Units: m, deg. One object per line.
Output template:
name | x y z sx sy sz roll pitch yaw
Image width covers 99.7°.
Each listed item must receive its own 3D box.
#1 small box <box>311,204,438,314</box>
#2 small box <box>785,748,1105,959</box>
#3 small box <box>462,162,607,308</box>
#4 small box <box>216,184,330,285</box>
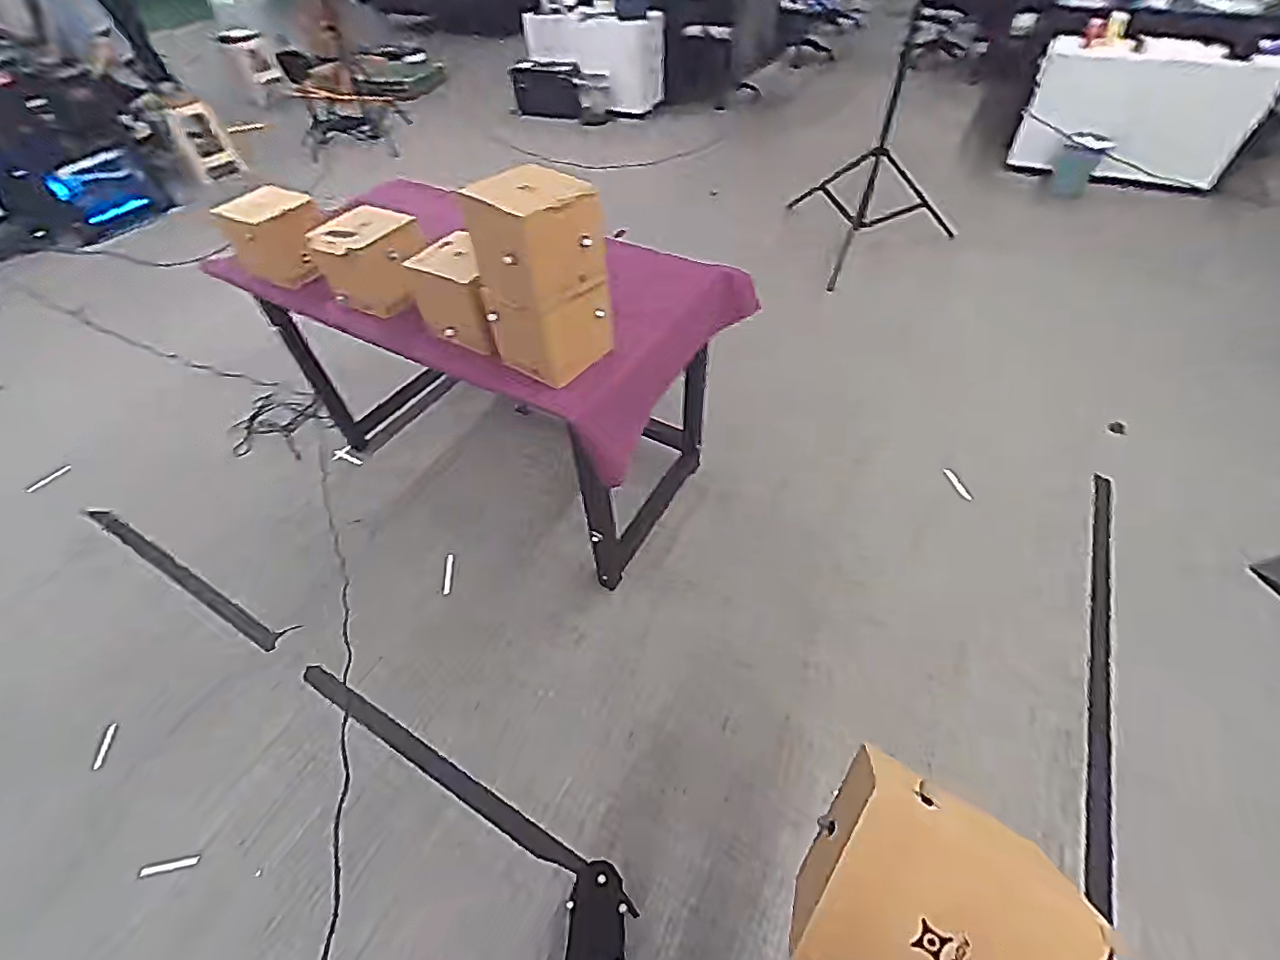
small box | -0.602 -0.510 1.254 0.168 0.176 0.179 21 54 19
small box | 0.250 0.370 0.488 0.179 0.176 0.168 26 86 21
small box | -0.174 -0.424 0.945 0.179 0.176 0.168 33 57 29
small box | -0.893 -0.614 1.358 0.179 0.176 0.168 22 54 19
